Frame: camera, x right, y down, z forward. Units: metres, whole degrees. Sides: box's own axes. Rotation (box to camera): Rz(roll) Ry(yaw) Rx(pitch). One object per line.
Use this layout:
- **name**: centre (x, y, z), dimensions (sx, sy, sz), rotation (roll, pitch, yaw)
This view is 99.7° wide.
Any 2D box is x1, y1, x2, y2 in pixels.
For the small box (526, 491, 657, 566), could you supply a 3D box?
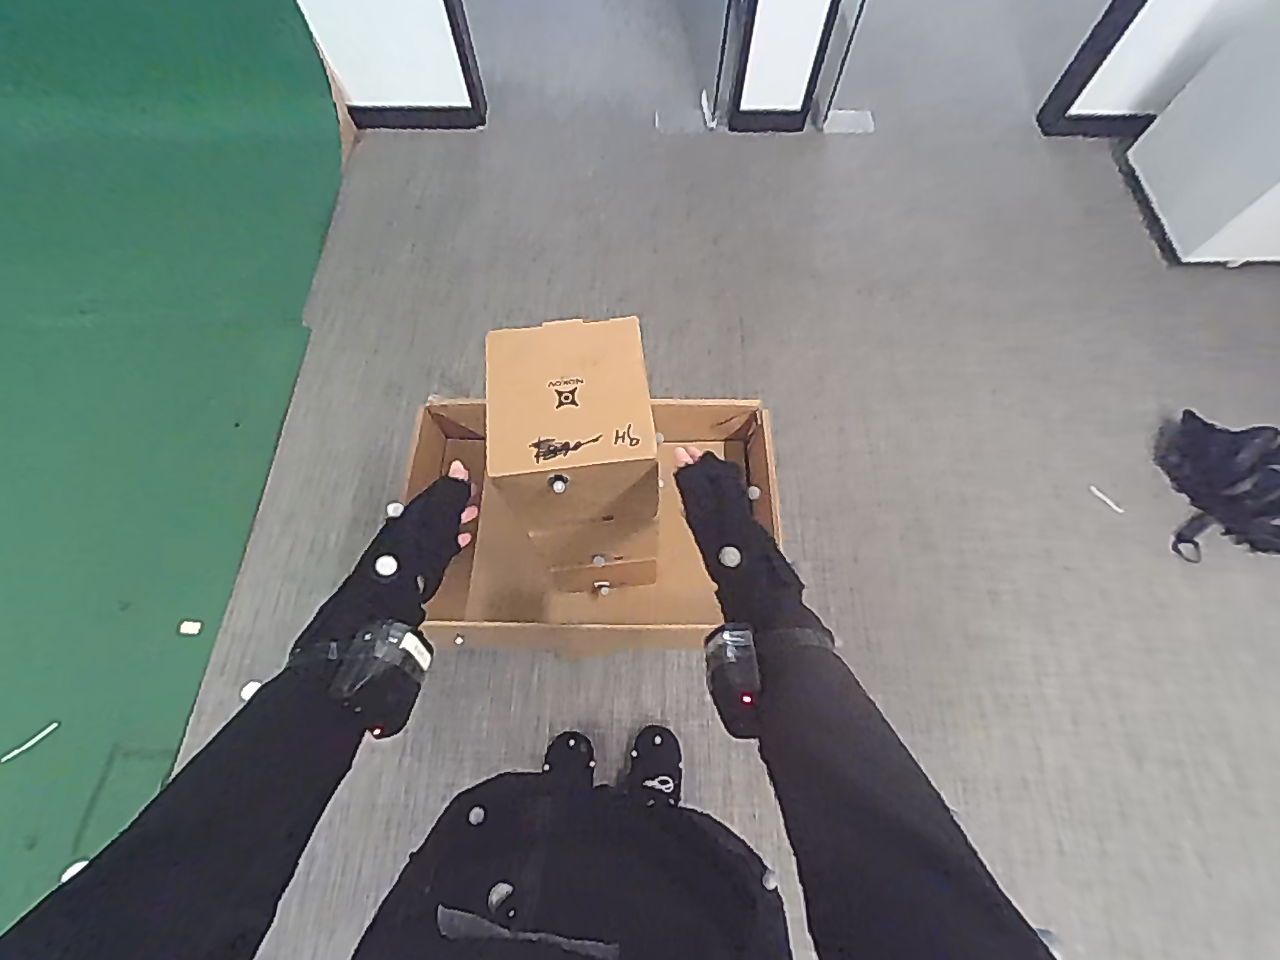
- **small box**: centre (-0.067, 0.011, 0.776), dimensions (0.168, 0.176, 0.179), rotation (-7, 67, -1)

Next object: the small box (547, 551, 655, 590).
- **small box**: centre (-0.066, 0.079, 0.926), dimensions (0.168, 0.176, 0.179), rotation (-6, 67, -1)

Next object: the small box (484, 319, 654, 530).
- **small box**: centre (-0.075, -0.058, 0.628), dimensions (0.168, 0.176, 0.179), rotation (-7, 65, -1)
